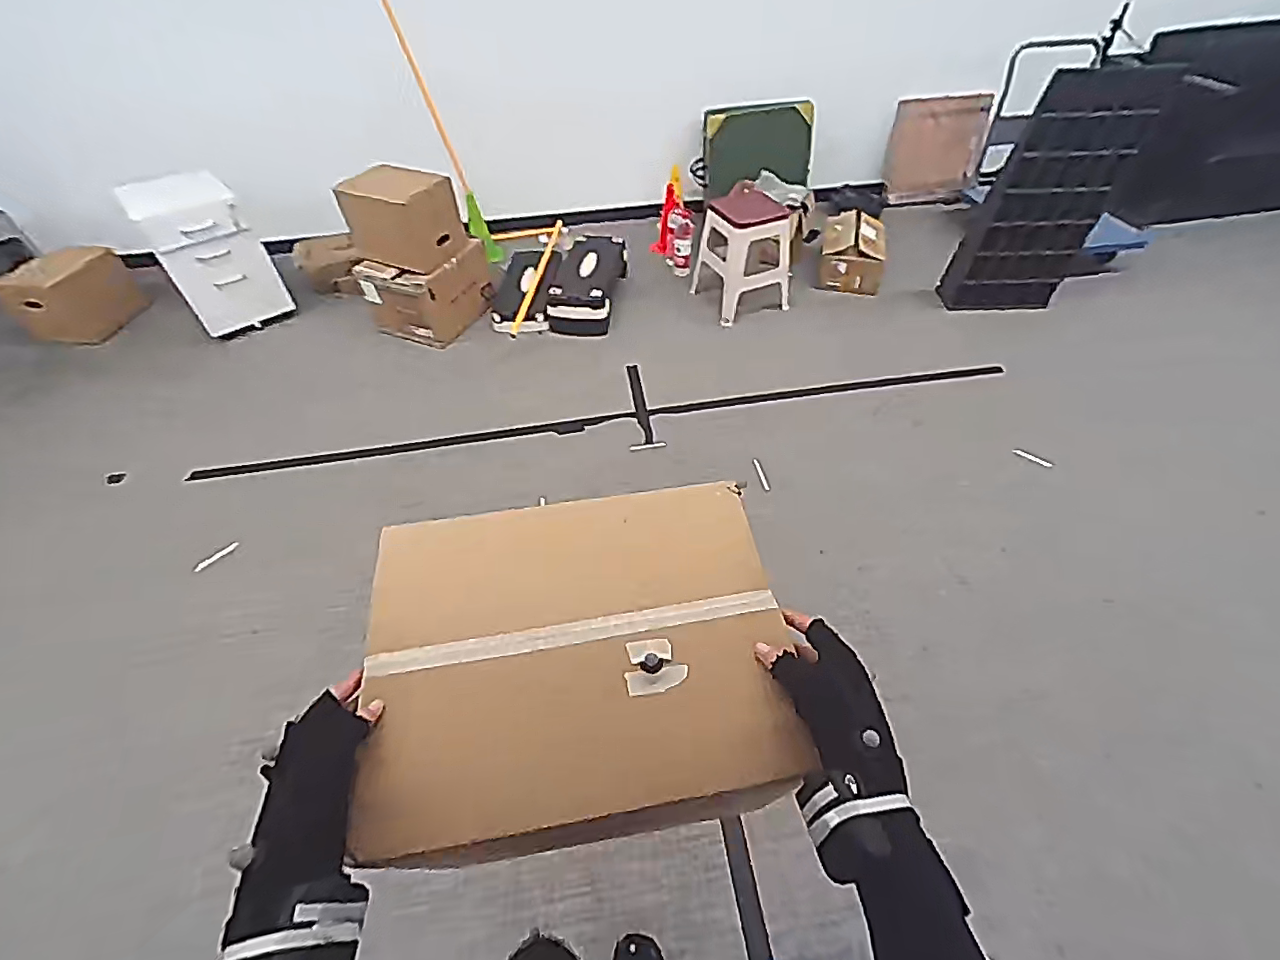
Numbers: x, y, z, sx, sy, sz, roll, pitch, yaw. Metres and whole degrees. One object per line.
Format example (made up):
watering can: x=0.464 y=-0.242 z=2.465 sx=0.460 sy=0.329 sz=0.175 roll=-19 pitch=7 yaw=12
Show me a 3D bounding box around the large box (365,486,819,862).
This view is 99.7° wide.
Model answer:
large box: x=-0.059 y=0.243 z=0.668 sx=0.408 sy=0.320 sz=0.320 roll=-7 pitch=54 yaw=-6
